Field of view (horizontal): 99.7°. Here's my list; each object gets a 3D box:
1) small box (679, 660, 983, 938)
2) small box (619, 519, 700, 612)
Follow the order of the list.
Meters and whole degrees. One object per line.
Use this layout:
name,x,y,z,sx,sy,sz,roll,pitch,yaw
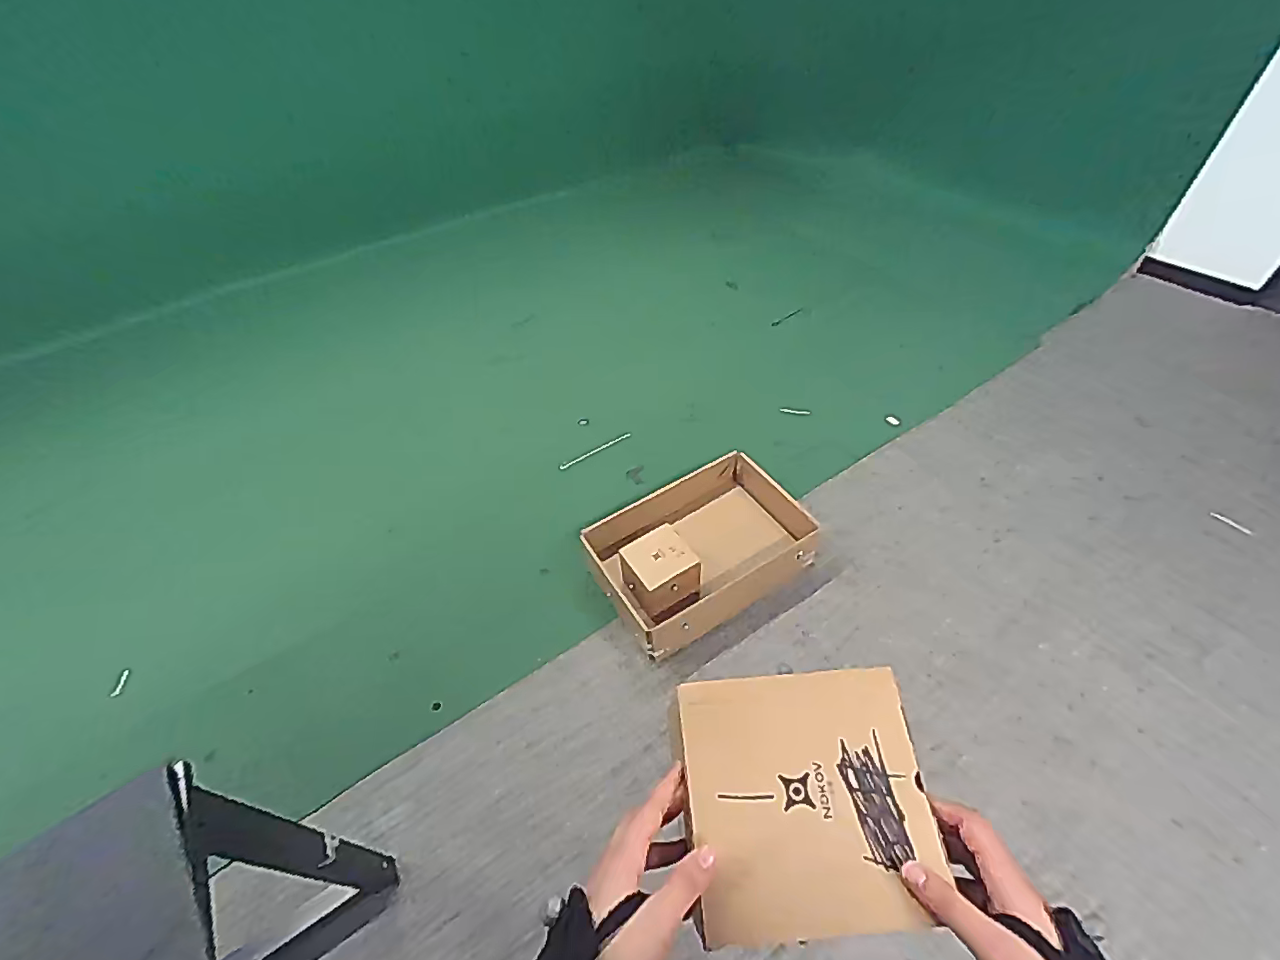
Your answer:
small box,0.132,0.254,0.454,0.179,0.176,0.168,-3,60,-2
small box,0.057,0.252,1.569,0.179,0.176,0.168,-26,53,-20
